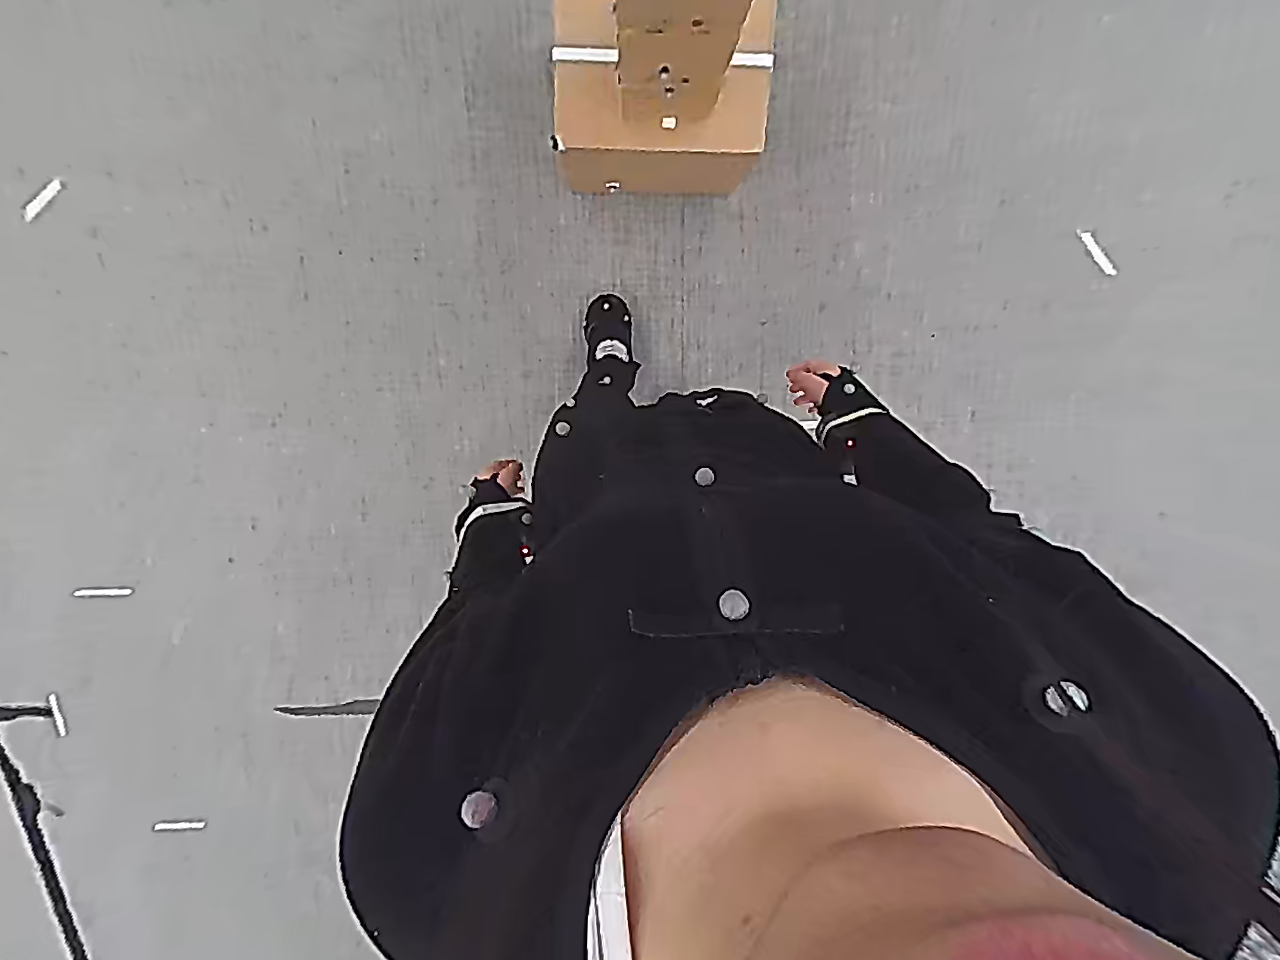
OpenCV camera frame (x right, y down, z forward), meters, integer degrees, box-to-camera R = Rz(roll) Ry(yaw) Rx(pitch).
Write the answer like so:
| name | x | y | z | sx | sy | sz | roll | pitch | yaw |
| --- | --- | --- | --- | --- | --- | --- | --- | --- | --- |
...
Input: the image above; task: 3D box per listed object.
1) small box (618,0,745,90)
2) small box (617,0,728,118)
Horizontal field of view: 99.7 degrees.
| name | x | y | z | sx | sy | sz | roll | pitch | yaw |
| --- | --- | --- | --- | --- | --- | --- | --- | --- | --- |
| small box | 0.052 | -0.693 | 0.768 | 0.168 | 0.176 | 0.179 | -1 | 106 | -2 |
| small box | 0.050 | -0.741 | 0.923 | 0.179 | 0.176 | 0.168 | -2 | 105 | -3 |
